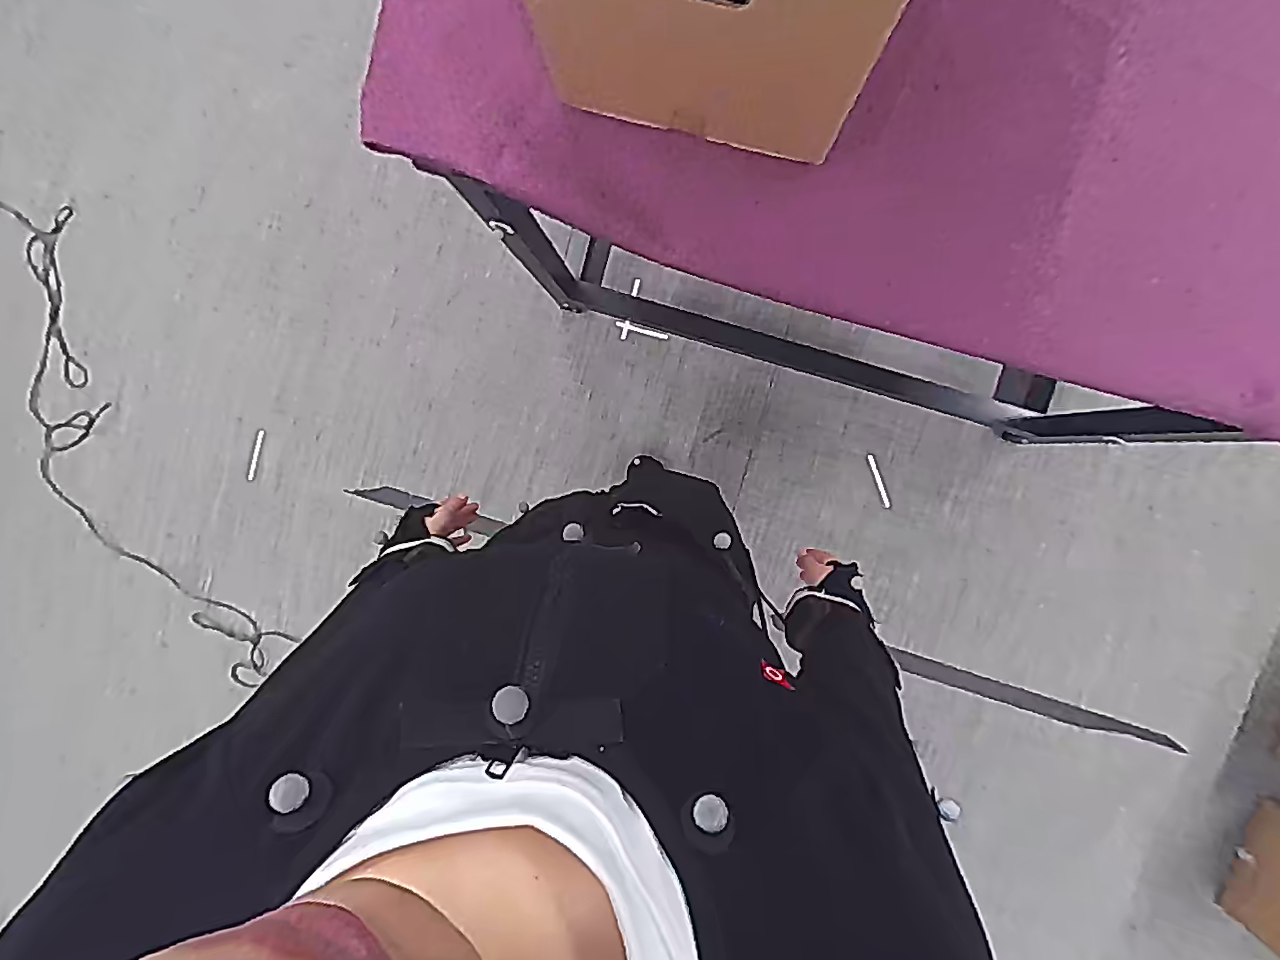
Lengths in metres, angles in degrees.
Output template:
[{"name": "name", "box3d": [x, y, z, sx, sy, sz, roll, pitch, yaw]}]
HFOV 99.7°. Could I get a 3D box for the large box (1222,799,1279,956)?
[{"name": "large box", "box3d": [1.663, 0.979, 1.173, 0.408, 0.320, 0.320, 15, 95, 4]}]
